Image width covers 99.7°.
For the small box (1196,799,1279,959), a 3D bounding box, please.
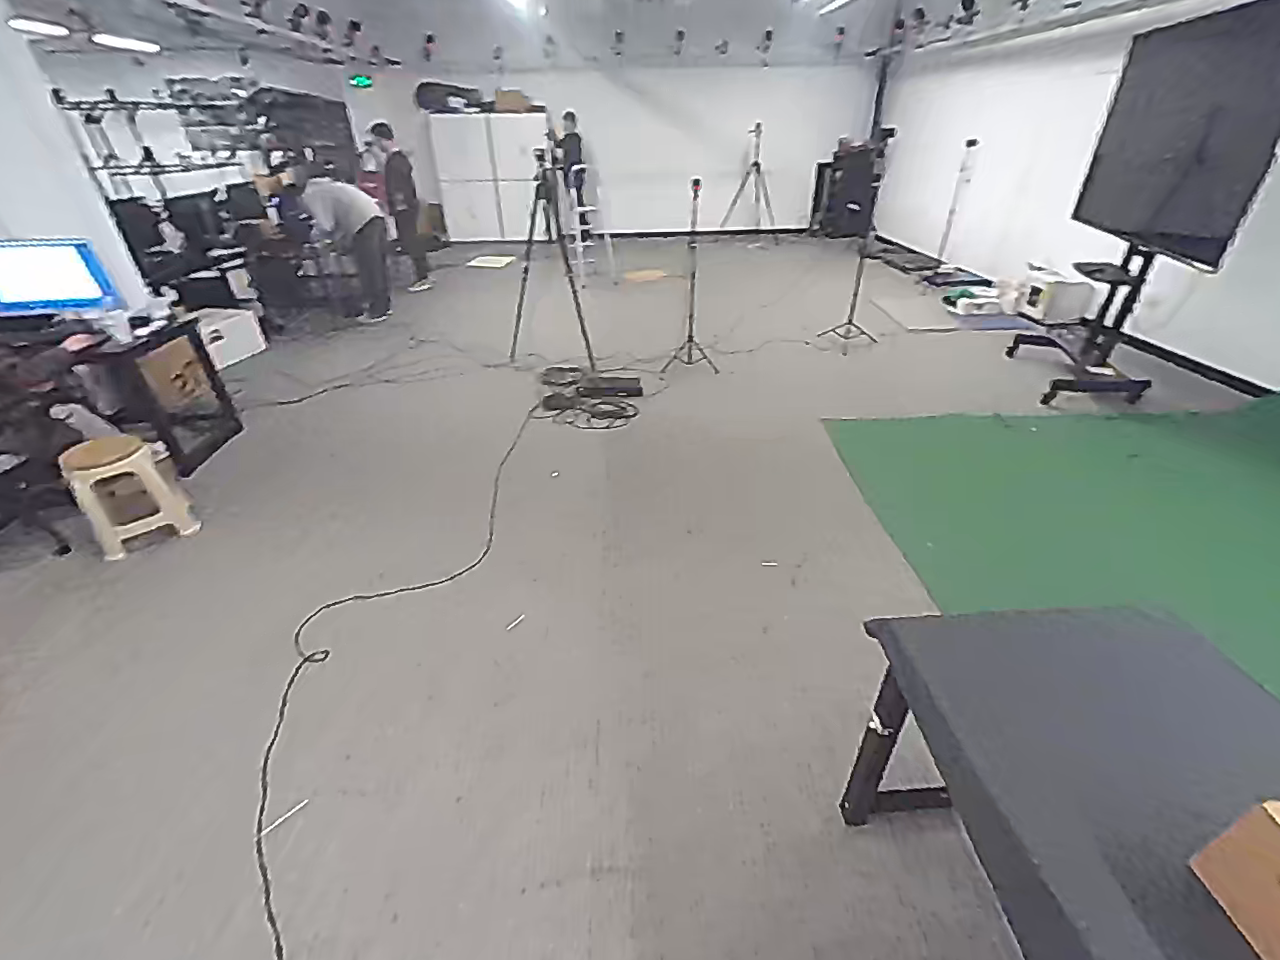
[{"bbox_3d":[0.848,0.510,0.644,0.168,0.176,0.179,-2,34,-1],"label":"small box"}]
